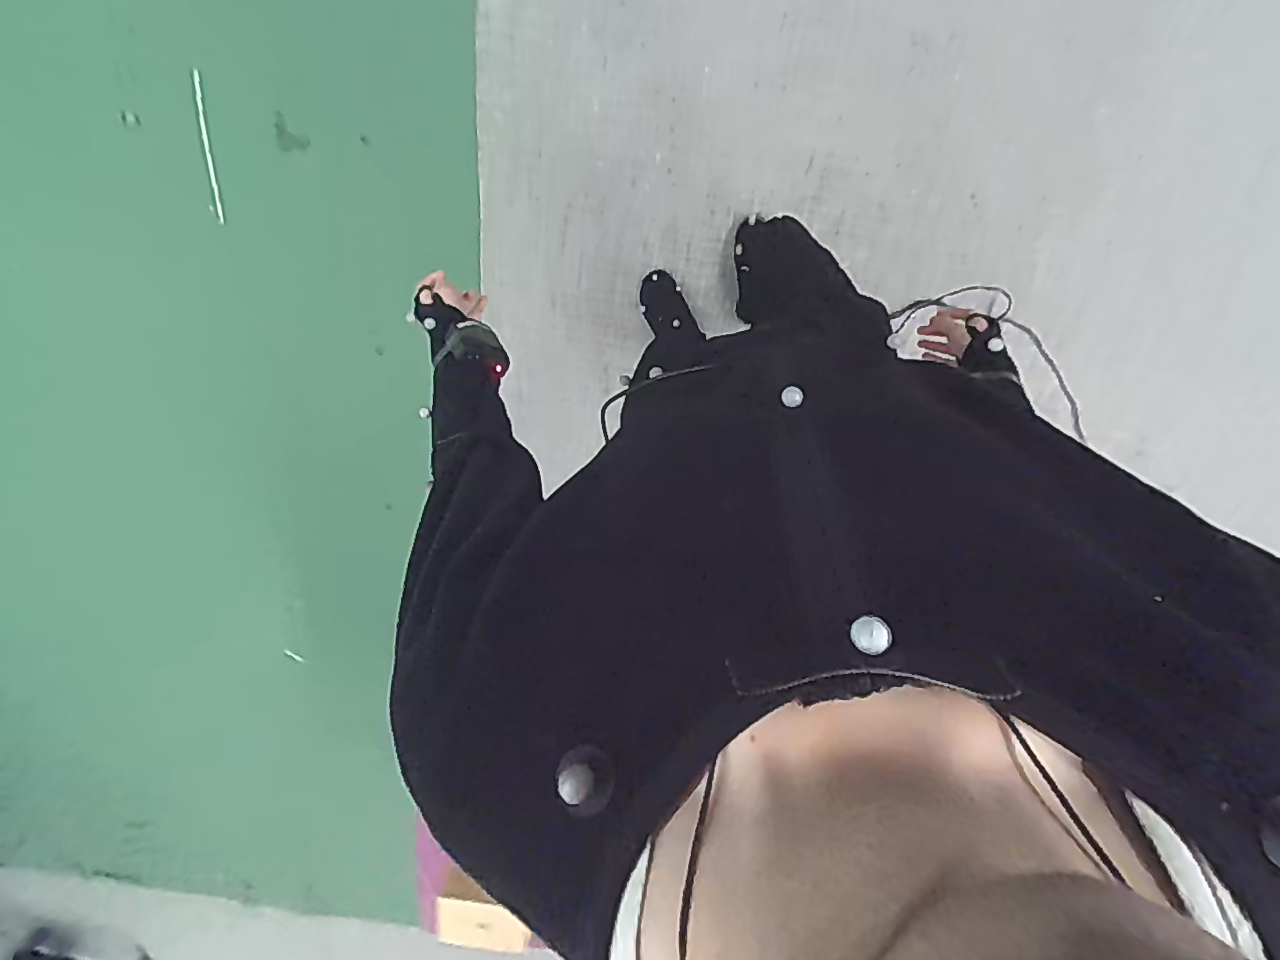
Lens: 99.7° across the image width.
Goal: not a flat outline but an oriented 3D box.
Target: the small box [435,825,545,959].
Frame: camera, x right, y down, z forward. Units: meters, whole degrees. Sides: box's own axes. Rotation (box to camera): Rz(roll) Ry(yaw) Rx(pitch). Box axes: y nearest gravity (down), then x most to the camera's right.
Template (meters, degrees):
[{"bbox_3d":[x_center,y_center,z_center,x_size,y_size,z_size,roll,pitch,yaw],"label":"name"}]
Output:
[{"bbox_3d":[-0.296,0.830,1.087,0.179,0.176,0.168,10,115,-1],"label":"small box"}]
